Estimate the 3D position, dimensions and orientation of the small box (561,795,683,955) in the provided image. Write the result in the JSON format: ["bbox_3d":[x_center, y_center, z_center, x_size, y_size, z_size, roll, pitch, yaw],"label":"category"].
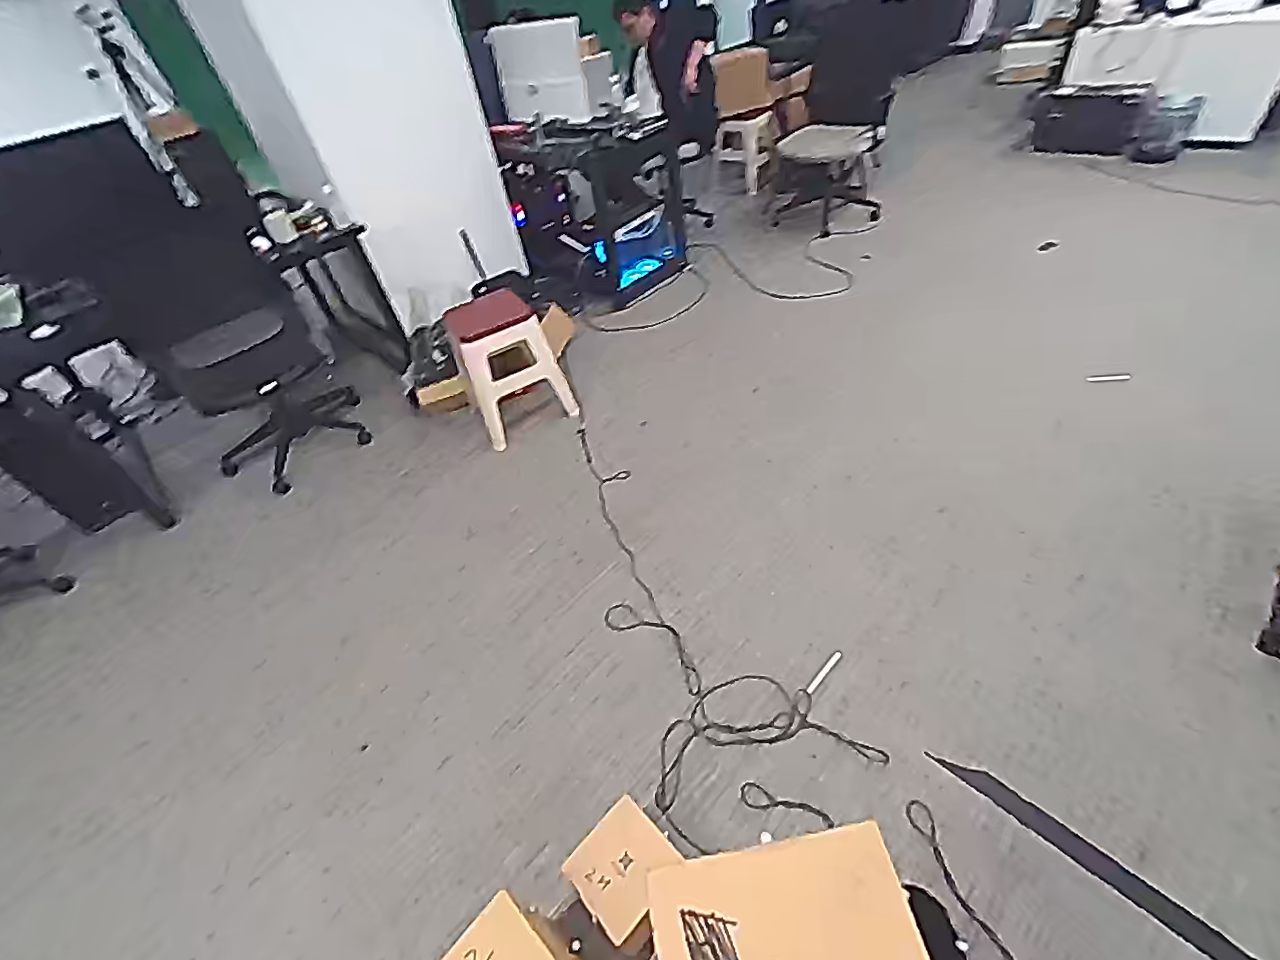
[{"bbox_3d":[-0.021,0.760,1.043,0.179,0.176,0.168,-39,49,-24],"label":"small box"}]

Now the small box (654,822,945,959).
[{"bbox_3d":[0.119,0.370,0.390,0.179,0.176,0.168,-13,49,2],"label":"small box"}]

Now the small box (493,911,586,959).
[{"bbox_3d":[-0.170,0.905,0.934,0.179,0.176,0.168,24,55,31],"label":"small box"}]
